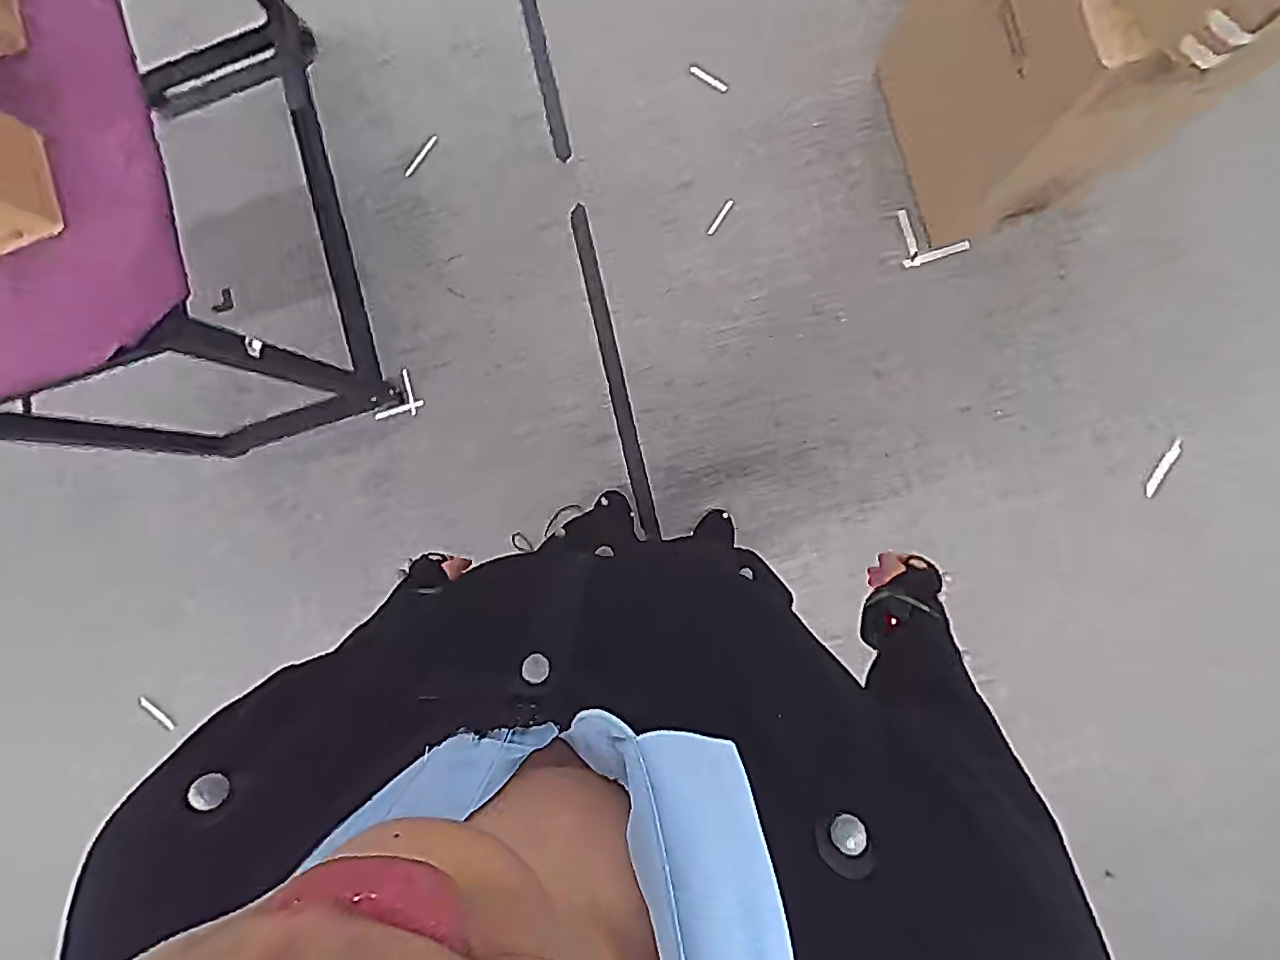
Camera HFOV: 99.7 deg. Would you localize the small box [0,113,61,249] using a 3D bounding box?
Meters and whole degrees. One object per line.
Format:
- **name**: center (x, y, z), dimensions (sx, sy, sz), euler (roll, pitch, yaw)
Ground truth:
- **small box**: center (-1.043, -0.471, 0.815), dimensions (0.168, 0.176, 0.179), euler (-18, 86, 5)
